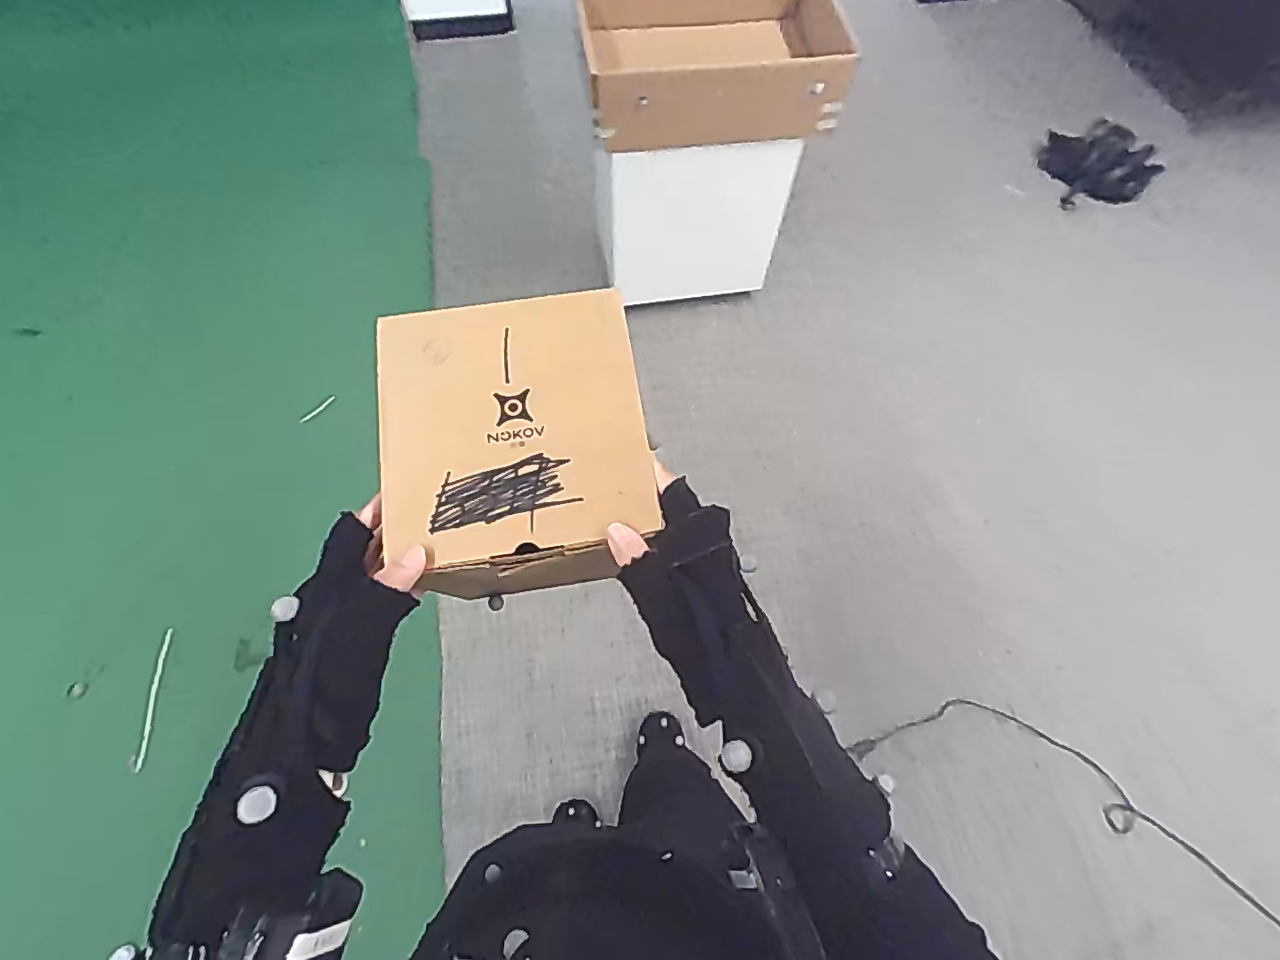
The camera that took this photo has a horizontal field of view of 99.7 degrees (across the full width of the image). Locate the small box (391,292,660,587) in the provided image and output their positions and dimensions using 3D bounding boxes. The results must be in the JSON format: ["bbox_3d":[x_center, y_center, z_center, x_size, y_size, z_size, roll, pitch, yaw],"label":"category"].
[{"bbox_3d":[-0.077,-0.015,0.423,0.168,0.176,0.179,-8,72,-3],"label":"small box"}]
